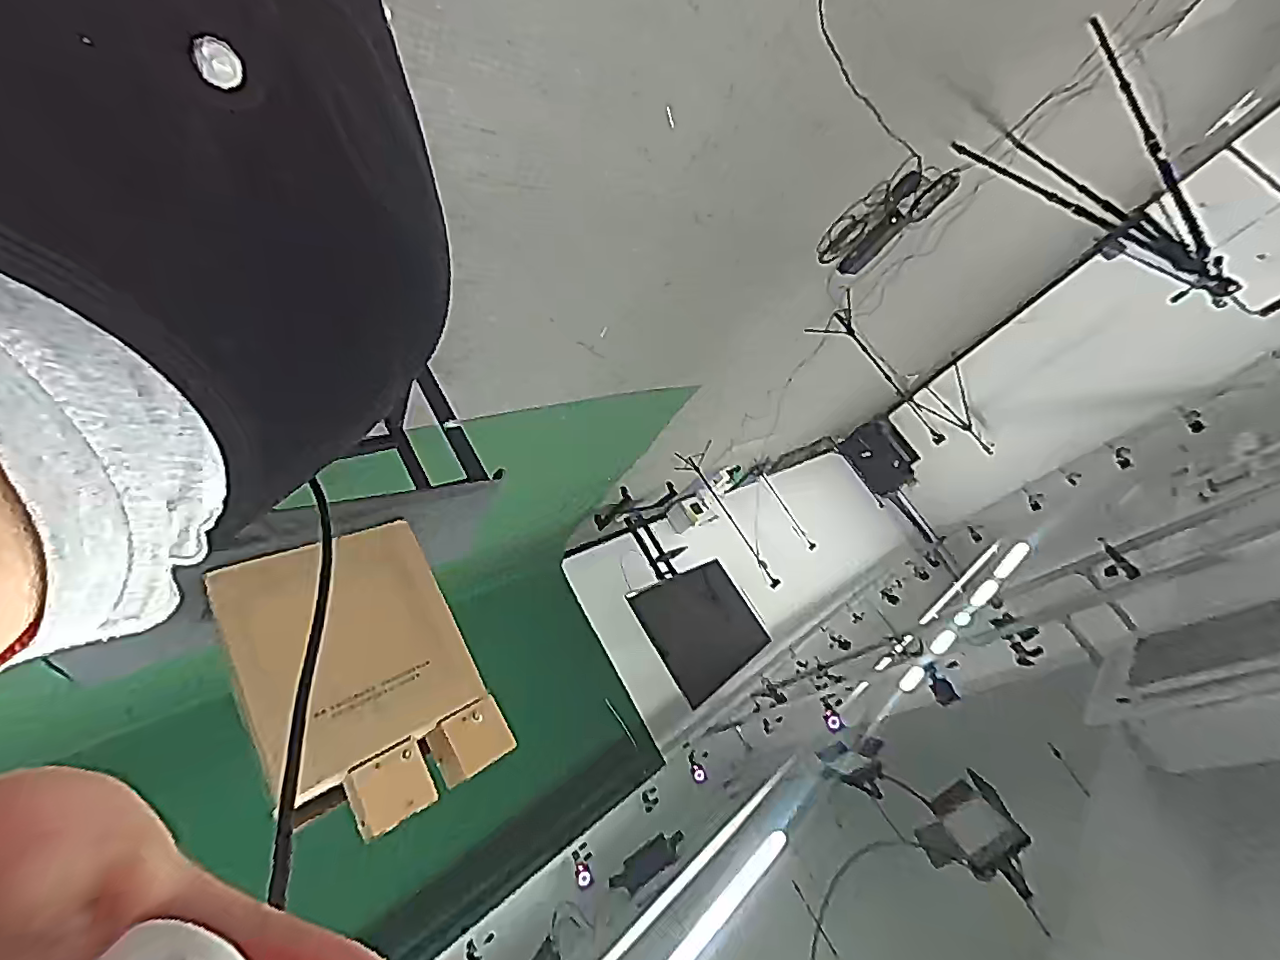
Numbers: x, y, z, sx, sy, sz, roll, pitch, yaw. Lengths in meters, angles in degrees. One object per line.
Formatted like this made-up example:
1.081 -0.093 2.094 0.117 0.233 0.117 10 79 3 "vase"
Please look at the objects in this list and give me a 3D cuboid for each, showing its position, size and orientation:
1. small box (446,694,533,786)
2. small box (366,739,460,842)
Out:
-0.451 0.763 1.599 0.168 0.176 0.179 -22 159 -44 "small box"
-0.611 0.823 1.443 0.168 0.176 0.179 -19 159 -41 "small box"
